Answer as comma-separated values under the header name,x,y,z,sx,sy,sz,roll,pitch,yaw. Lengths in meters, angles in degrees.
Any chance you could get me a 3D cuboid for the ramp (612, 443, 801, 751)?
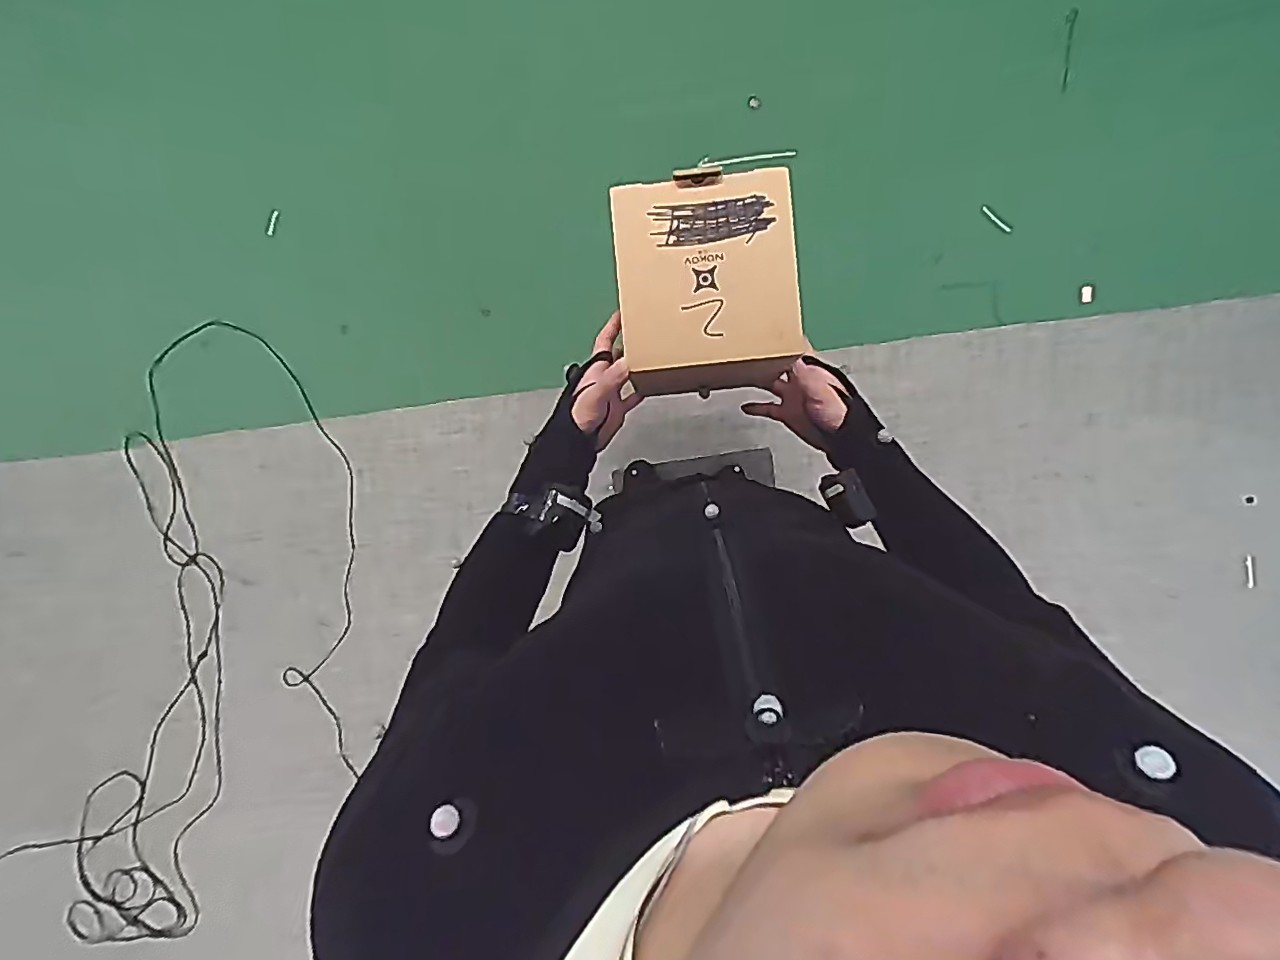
name,x,y,z,sx,sy,sz,roll,pitch,yaw
ramp,0.229,0.400,1.714,0.509,0.206,0.991,-10,92,2
